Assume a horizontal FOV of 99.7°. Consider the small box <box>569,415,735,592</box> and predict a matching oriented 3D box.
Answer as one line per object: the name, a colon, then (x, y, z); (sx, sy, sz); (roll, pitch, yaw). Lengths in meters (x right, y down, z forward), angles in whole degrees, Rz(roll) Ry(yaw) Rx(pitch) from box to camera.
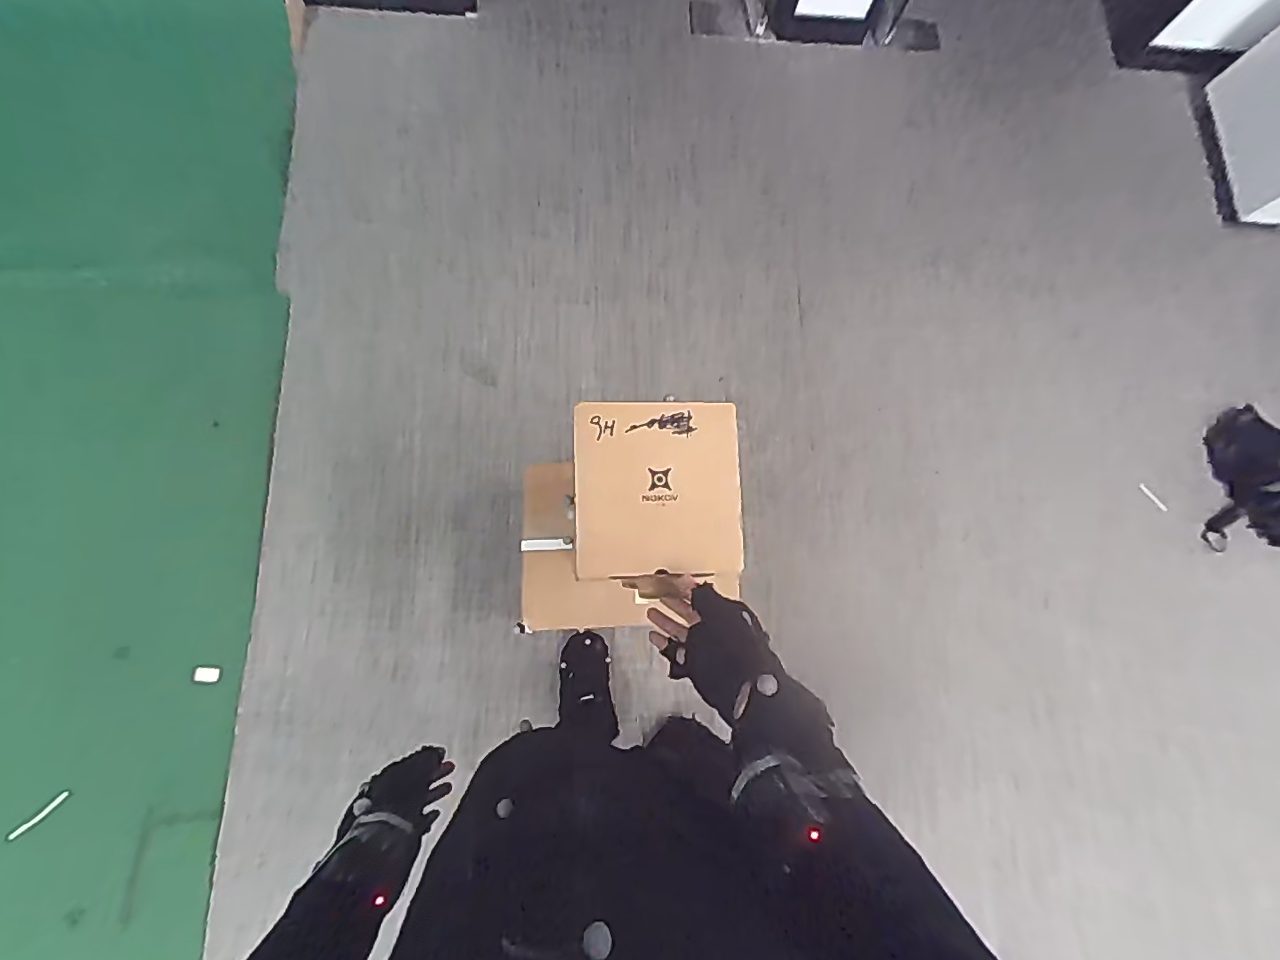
small box: (0.005, 0.028, 0.617); (0.168, 0.176, 0.179); (-1, 84, -6)
